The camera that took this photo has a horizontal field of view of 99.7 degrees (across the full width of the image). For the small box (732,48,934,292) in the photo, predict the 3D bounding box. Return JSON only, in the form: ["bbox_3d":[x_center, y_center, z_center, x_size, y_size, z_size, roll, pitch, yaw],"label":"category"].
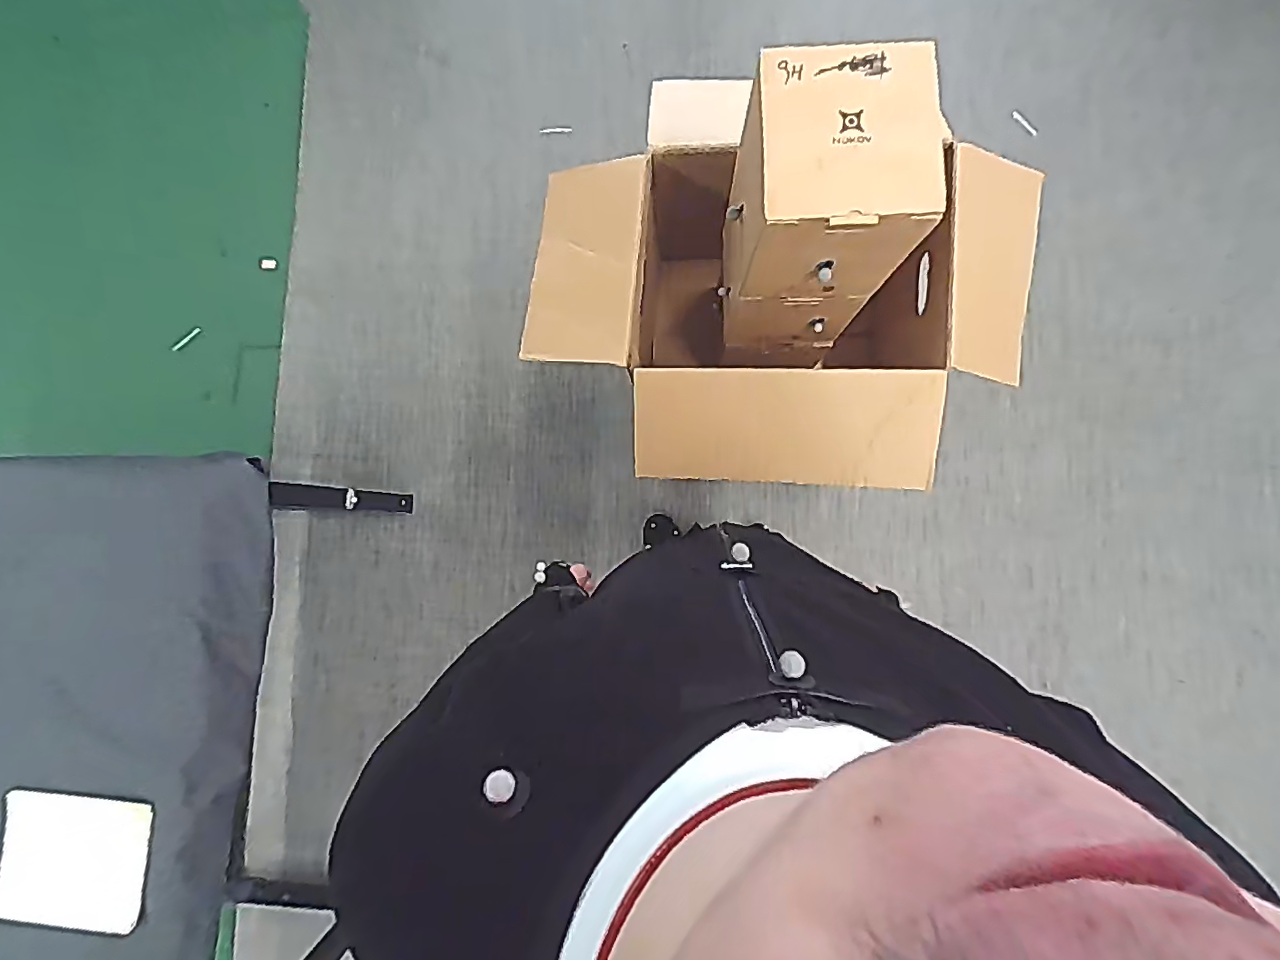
[{"bbox_3d":[0.195,-0.317,0.589,0.168,0.176,0.179,0,86,2],"label":"small box"}]
